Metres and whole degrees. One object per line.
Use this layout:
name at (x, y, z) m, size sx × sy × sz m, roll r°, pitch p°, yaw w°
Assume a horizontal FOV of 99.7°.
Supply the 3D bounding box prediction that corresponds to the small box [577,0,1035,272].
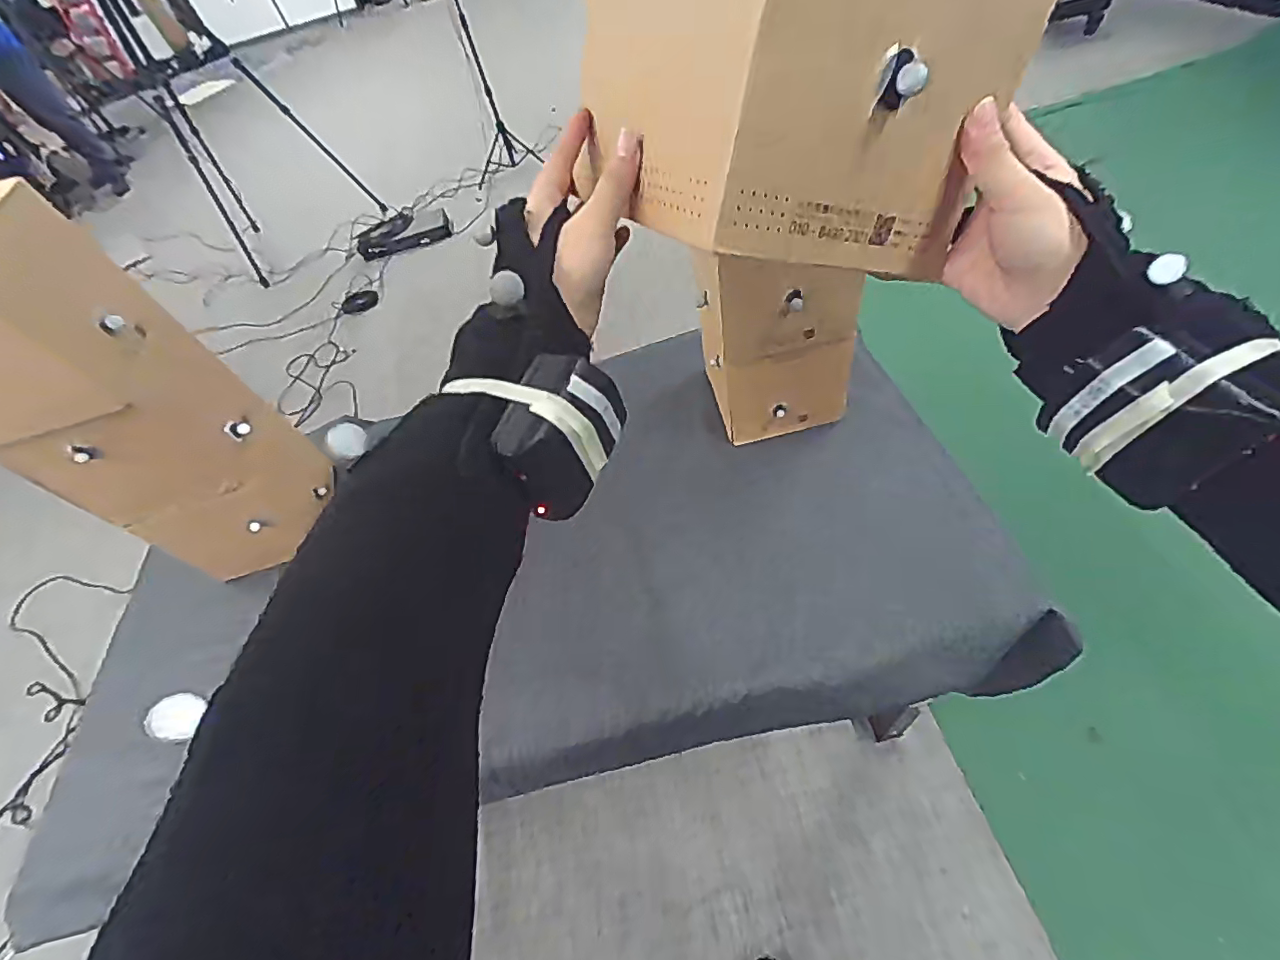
small box at (0.078, -0.224, 0.296) m, size 0.168 × 0.176 × 0.179 m, roll -6°, pitch 36°, yaw -29°

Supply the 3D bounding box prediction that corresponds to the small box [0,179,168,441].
small box at (-0.642, -0.158, 0.539) m, size 0.179 × 0.176 × 0.168 m, roll -16°, pitch 55°, yaw -1°

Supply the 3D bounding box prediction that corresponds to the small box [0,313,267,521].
small box at (-0.620, -0.072, 0.678) m, size 0.179 × 0.176 × 0.168 m, roll -18°, pitch 55°, yaw -2°

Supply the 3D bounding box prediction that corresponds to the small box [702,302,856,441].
small box at (0.187, -0.185, 0.780) m, size 0.168 × 0.176 × 0.179 m, roll -14°, pitch 54°, yaw 3°

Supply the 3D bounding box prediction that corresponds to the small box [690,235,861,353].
small box at (0.155, -0.272, 0.644) m, size 0.168 × 0.176 × 0.179 m, roll -14°, pitch 55°, yaw 3°
